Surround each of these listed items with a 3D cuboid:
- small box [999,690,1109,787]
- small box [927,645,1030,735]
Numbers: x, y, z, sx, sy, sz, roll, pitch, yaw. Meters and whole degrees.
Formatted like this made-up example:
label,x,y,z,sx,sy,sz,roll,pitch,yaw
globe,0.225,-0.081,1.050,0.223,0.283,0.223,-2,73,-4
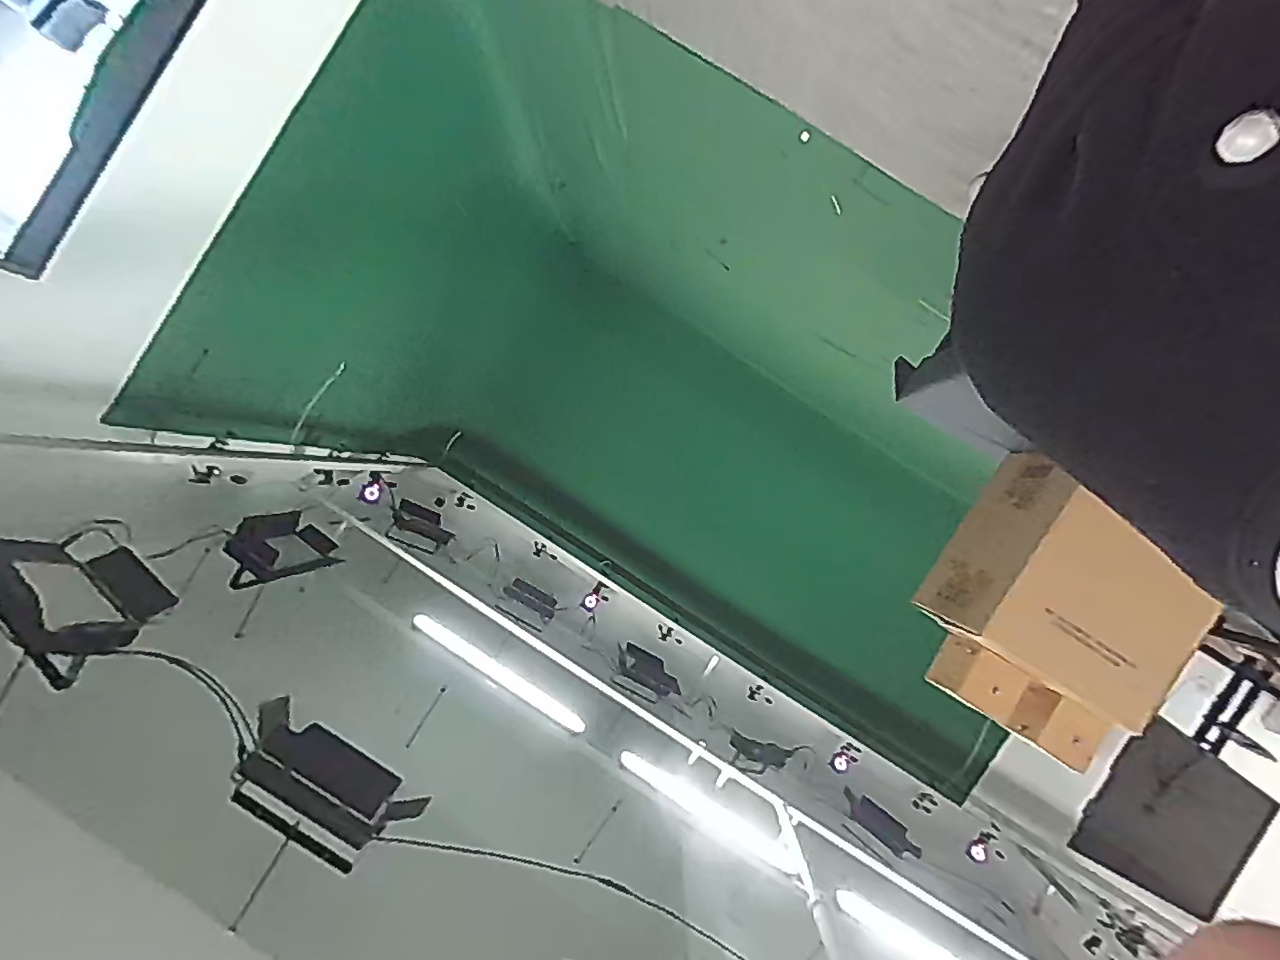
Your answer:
label,x,y,z,sx,sy,sz,roll,pitch,yaw
small box,1.255,0.774,1.639,0.179,0.176,0.168,33,176,0
small box,1.039,0.636,1.664,0.179,0.176,0.168,33,176,-1
